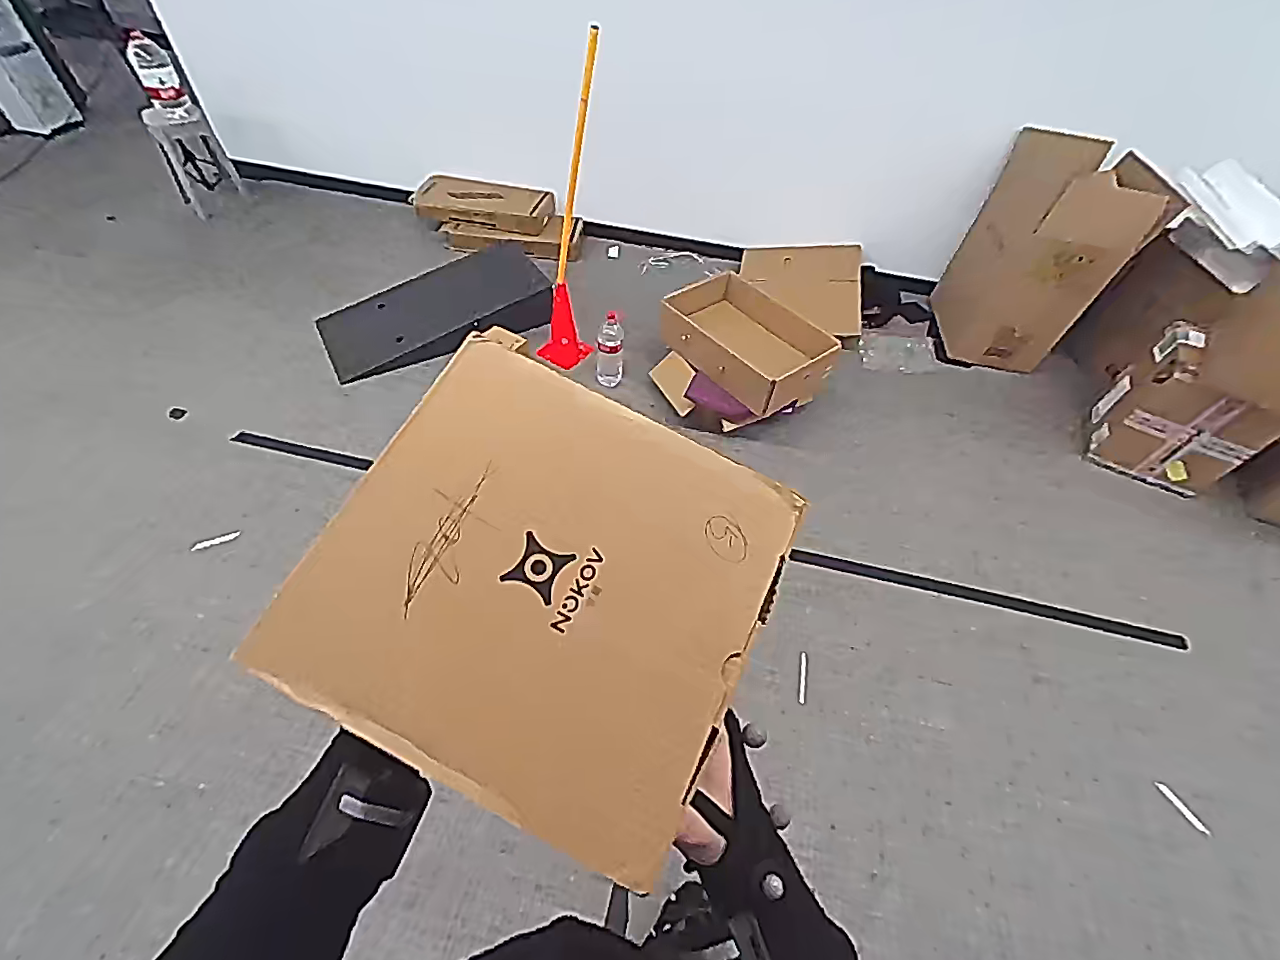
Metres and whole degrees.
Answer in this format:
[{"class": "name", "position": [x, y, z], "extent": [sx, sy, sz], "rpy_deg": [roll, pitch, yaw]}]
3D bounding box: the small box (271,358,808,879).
[{"class": "small box", "position": [-0.040, 0.070, 0.305], "extent": [0.179, 0.176, 0.168], "rpy_deg": [26, 69, 5]}]
